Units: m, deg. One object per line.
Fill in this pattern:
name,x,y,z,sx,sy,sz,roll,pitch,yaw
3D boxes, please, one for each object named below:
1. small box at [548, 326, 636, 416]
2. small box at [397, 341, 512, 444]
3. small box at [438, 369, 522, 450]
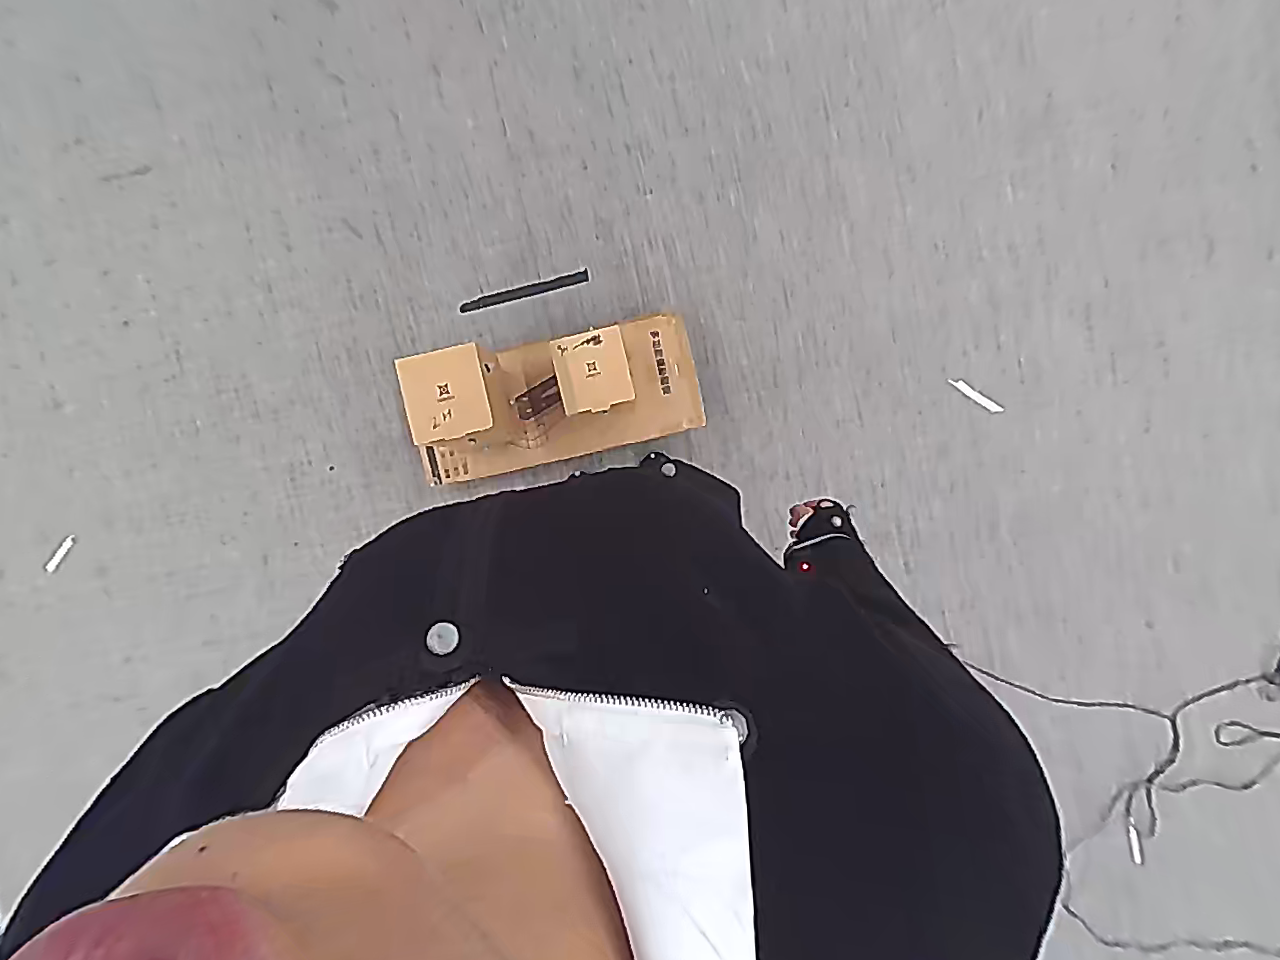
small box,-0.107,-0.253,1.302,0.168,0.176,0.179,-12,93,4
small box,-0.384,-0.177,1.145,0.168,0.176,0.179,-12,93,1
small box,-0.398,-0.175,1.310,0.168,0.176,0.179,-14,93,1
